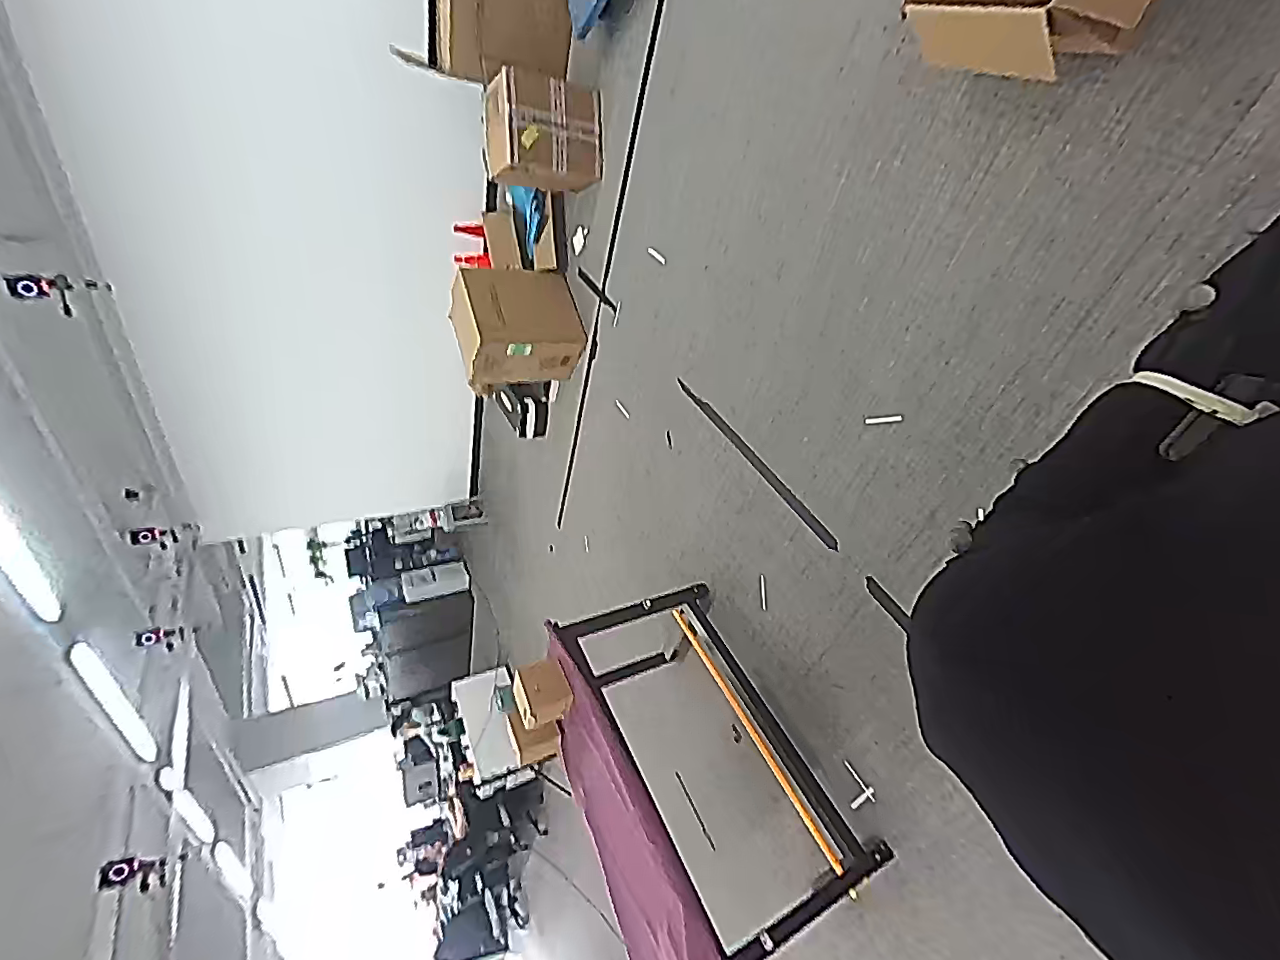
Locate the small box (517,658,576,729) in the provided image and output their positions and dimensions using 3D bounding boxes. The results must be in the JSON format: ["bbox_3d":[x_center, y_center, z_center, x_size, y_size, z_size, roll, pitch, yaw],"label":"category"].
[{"bbox_3d":[-0.359,0.815,2.075,0.179,0.176,0.168,57,144,36],"label":"small box"}]
